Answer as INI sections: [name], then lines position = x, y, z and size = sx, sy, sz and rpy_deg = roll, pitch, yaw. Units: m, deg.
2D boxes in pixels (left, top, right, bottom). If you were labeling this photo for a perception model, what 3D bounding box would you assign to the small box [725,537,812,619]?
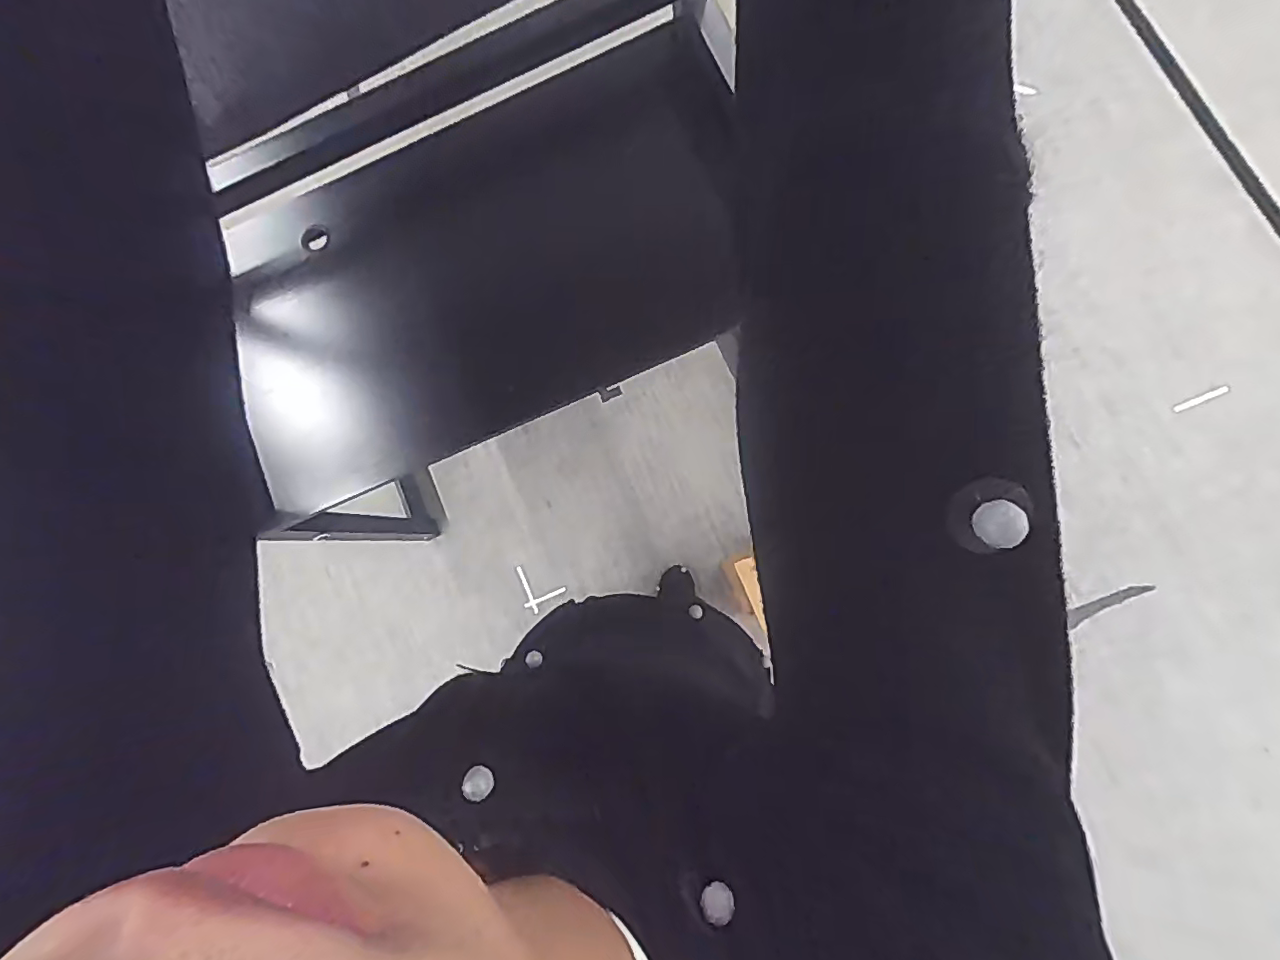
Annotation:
[small box]
position = 0.349, 0.264, 1.502
size = 0.179, 0.176, 0.168
rpy_deg = -25, 82, 4
